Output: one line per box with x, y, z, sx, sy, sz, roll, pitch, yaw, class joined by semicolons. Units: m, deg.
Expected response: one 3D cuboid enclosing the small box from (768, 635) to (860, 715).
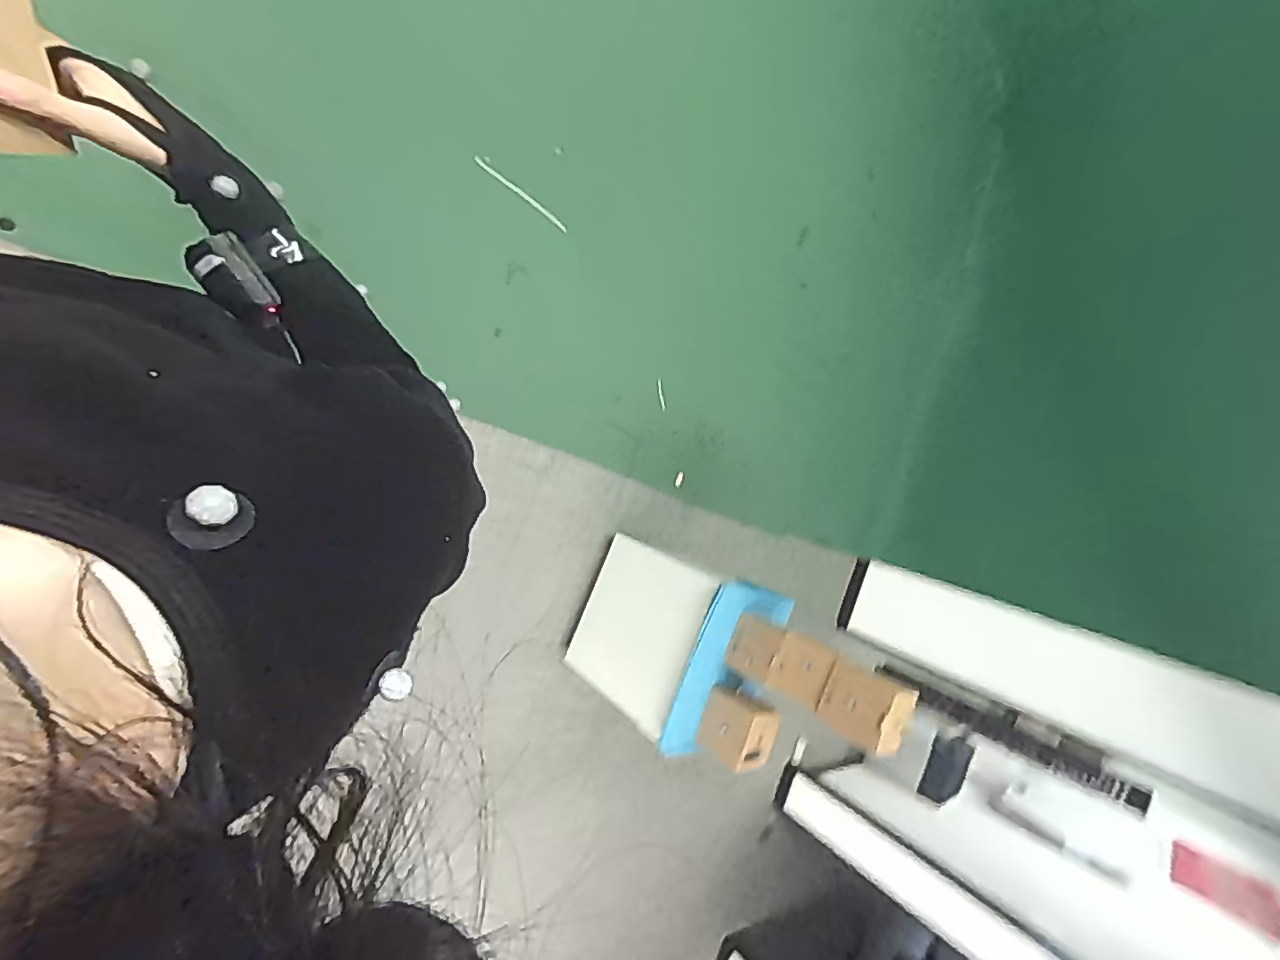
0.494;0.559;1.547;0.179;0.176;0.168;26;86;-44;small box

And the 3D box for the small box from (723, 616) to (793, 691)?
0.385;0.534;1.664;0.179;0.176;0.168;24;87;-44;small box

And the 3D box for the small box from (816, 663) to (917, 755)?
0.592;0.598;1.420;0.179;0.176;0.168;26;86;-43;small box
